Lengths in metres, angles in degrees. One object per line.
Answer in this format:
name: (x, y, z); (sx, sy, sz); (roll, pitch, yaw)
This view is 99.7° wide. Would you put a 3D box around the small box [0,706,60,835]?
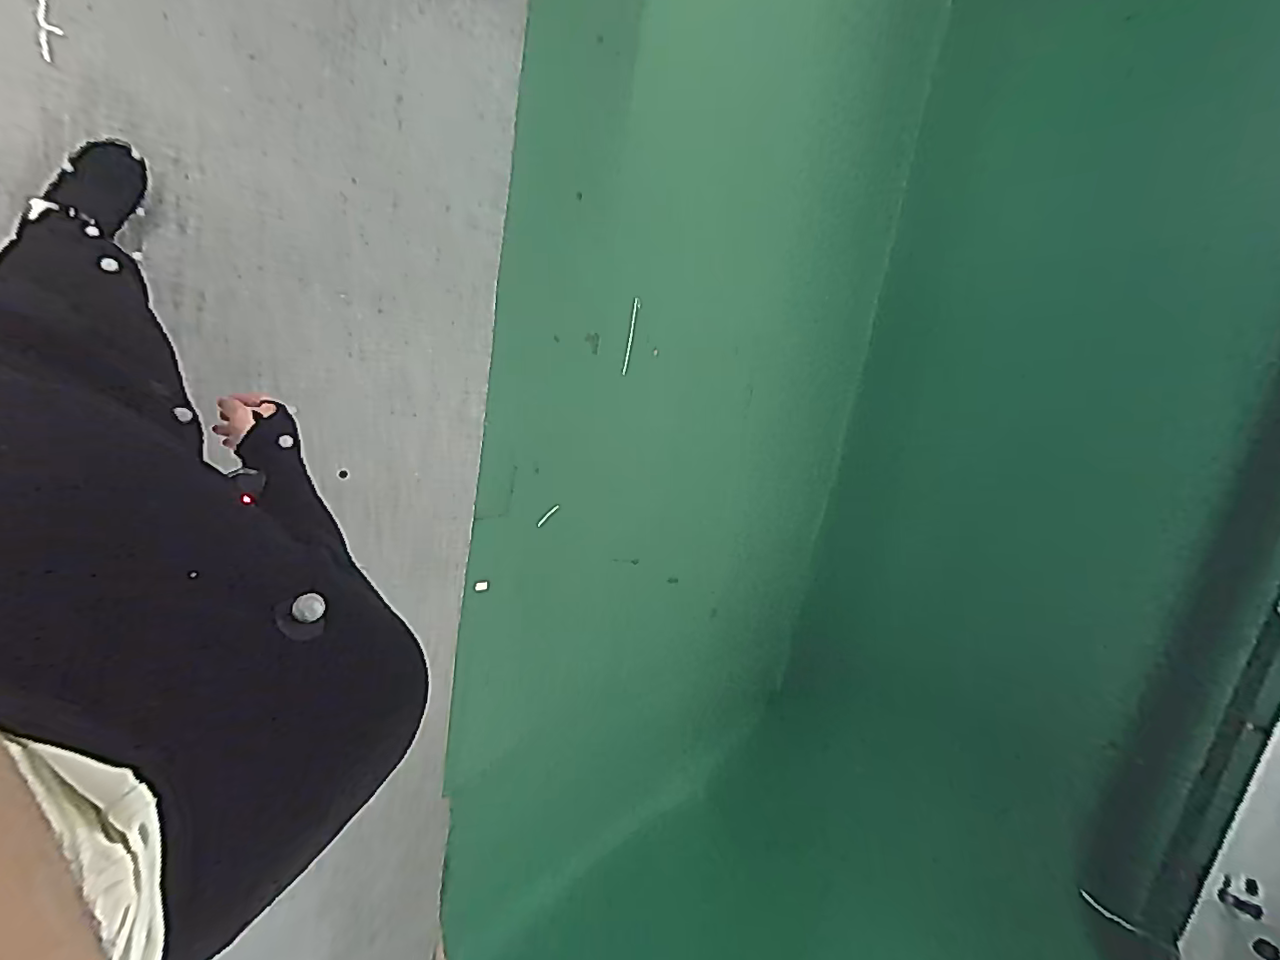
small box: (-1.302, 0.595, 1.092); (0.168, 0.176, 0.179); (2, 103, -50)
